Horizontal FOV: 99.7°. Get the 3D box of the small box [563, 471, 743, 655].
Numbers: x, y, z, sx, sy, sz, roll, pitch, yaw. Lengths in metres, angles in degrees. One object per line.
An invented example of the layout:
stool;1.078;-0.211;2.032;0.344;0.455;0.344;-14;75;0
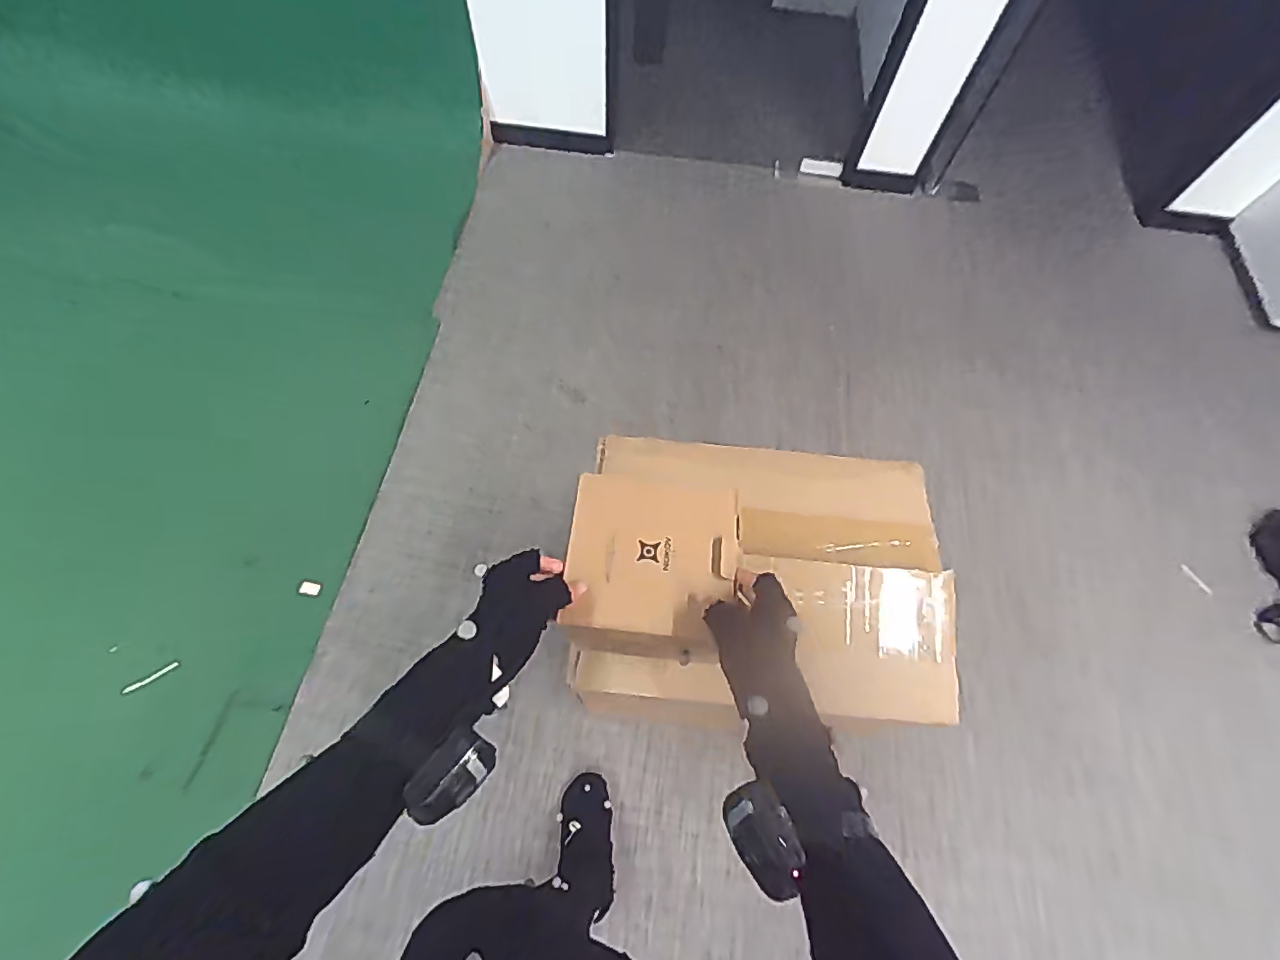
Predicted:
small box;0.018;0.105;0.633;0.179;0.176;0.168;4;64;3
